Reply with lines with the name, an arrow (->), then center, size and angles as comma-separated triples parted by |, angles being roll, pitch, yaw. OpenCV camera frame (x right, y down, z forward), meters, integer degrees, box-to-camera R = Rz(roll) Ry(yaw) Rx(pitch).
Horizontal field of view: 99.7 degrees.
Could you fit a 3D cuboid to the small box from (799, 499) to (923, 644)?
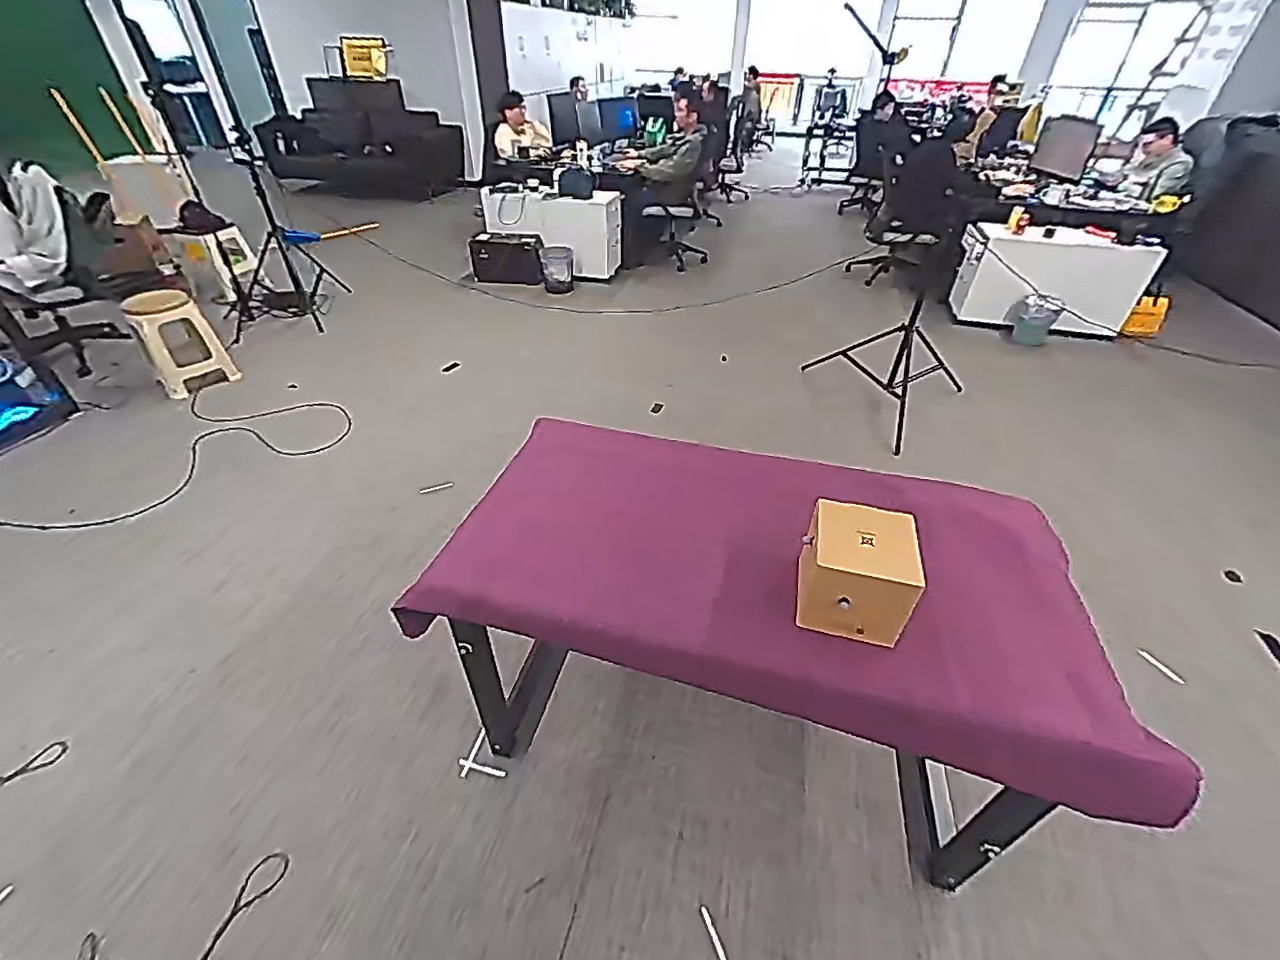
small box -> 0.384, 0.163, 0.964 | 0.168, 0.176, 0.179 | 10, 39, 11
